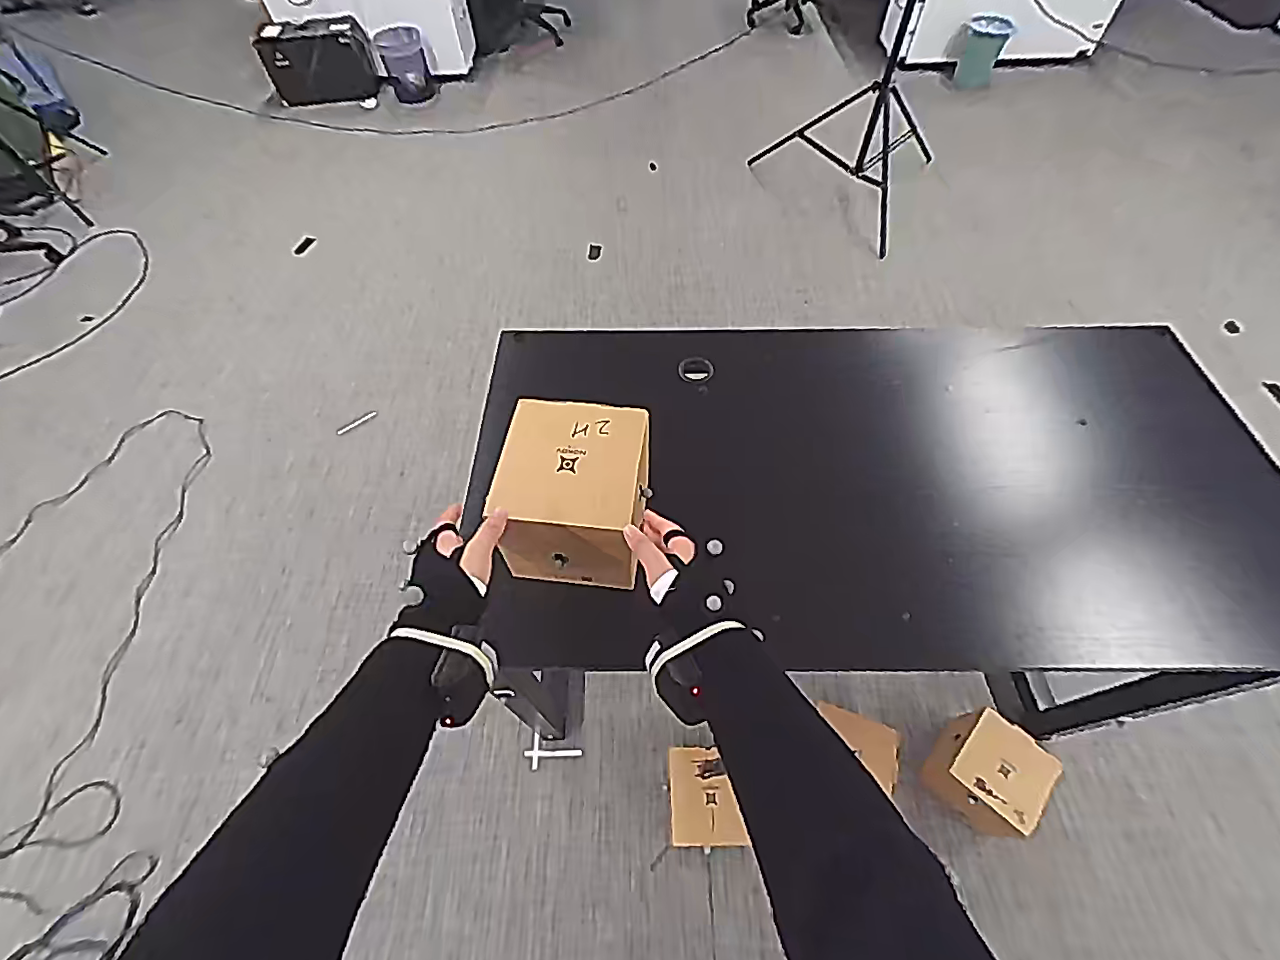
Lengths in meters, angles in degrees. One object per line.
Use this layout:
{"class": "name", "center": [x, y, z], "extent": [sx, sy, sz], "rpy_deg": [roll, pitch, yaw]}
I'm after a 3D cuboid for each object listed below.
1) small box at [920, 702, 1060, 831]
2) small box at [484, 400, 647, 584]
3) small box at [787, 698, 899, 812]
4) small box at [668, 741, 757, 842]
{"class": "small box", "center": [0.741, 0.617, 1.164], "extent": [0.168, 0.176, 0.179], "rpy_deg": [38, 65, 23]}
{"class": "small box", "center": [-0.081, 0.021, 0.701], "extent": [0.168, 0.176, 0.179], "rpy_deg": [5, 57, 4]}
{"class": "small box", "center": [0.439, 0.604, 1.183], "extent": [0.179, 0.176, 0.168], "rpy_deg": [16, 58, 13]}
{"class": "small box", "center": [0.145, 0.664, 1.150], "extent": [0.168, 0.176, 0.179], "rpy_deg": [-2, 58, 1]}
